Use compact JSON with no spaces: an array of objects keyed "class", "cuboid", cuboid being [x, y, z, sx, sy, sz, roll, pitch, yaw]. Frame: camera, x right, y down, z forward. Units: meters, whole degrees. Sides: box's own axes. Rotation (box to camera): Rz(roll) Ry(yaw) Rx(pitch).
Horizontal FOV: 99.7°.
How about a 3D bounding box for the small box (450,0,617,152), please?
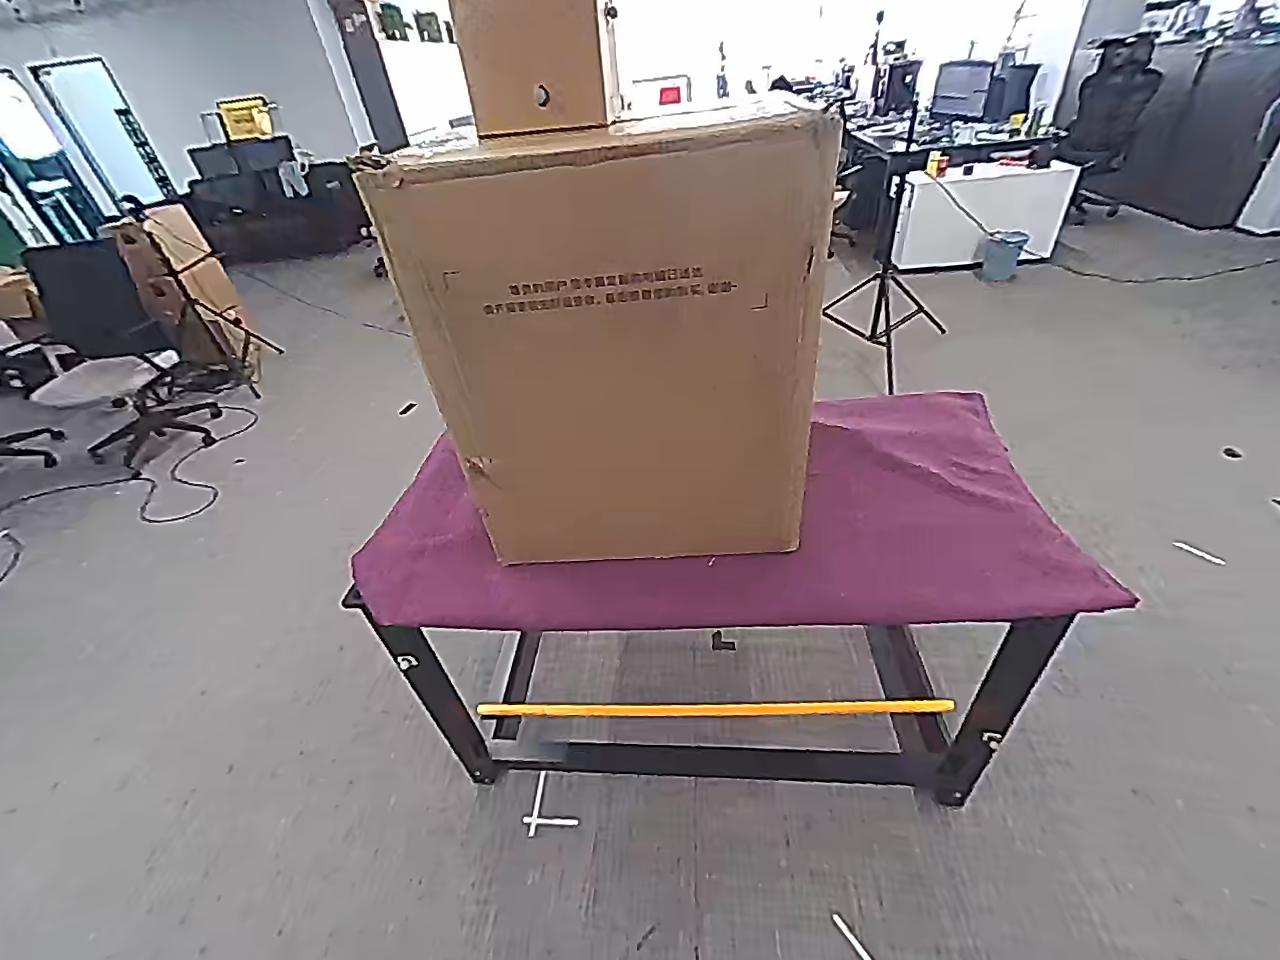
[{"class":"small box","cuboid":[-0.132,-0.545,0.711,0.179,0.176,0.168,-1,38,7]}]
